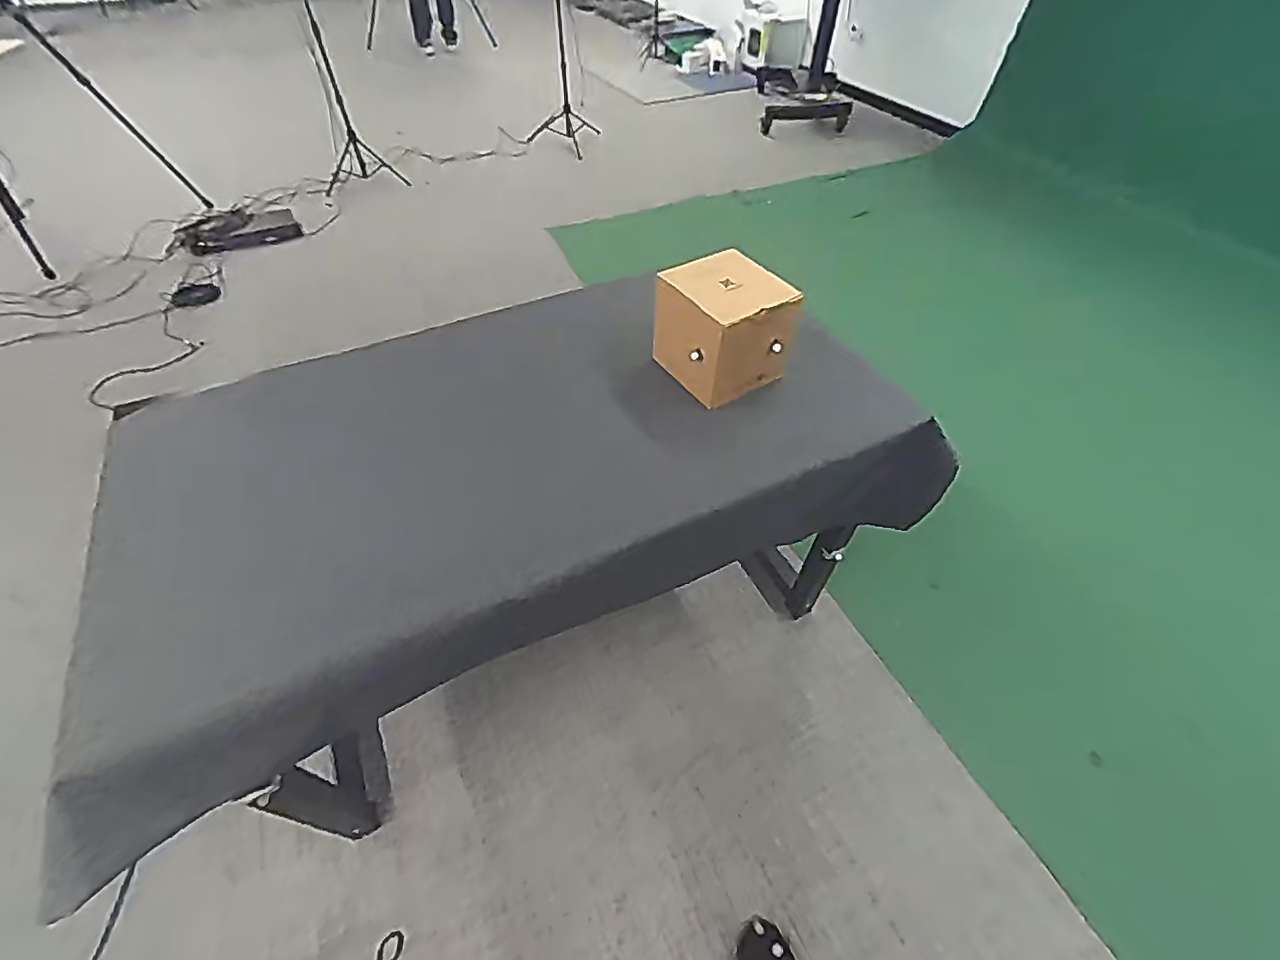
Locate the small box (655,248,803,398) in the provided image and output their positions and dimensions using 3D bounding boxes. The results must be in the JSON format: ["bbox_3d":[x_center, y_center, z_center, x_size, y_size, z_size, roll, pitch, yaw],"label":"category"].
[{"bbox_3d":[0.139,-0.258,0.911,0.168,0.176,0.179,-26,54,-23],"label":"small box"}]
